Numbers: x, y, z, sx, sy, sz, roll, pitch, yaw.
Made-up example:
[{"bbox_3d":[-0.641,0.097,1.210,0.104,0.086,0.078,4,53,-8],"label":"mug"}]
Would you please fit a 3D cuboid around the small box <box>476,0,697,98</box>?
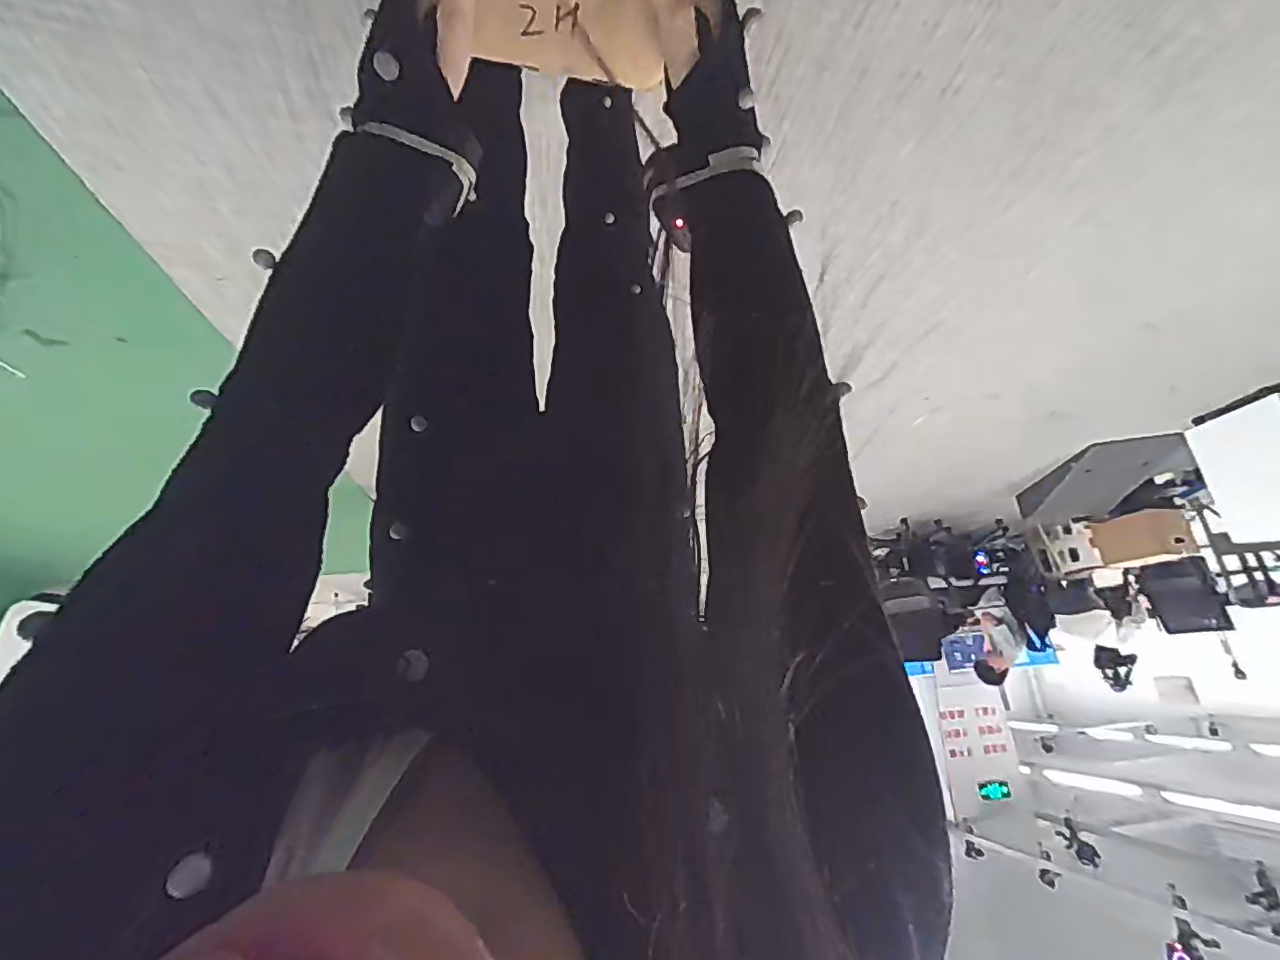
[{"bbox_3d":[-0.038,-0.448,0.411,0.168,0.176,0.179,2,160,-15],"label":"small box"}]
